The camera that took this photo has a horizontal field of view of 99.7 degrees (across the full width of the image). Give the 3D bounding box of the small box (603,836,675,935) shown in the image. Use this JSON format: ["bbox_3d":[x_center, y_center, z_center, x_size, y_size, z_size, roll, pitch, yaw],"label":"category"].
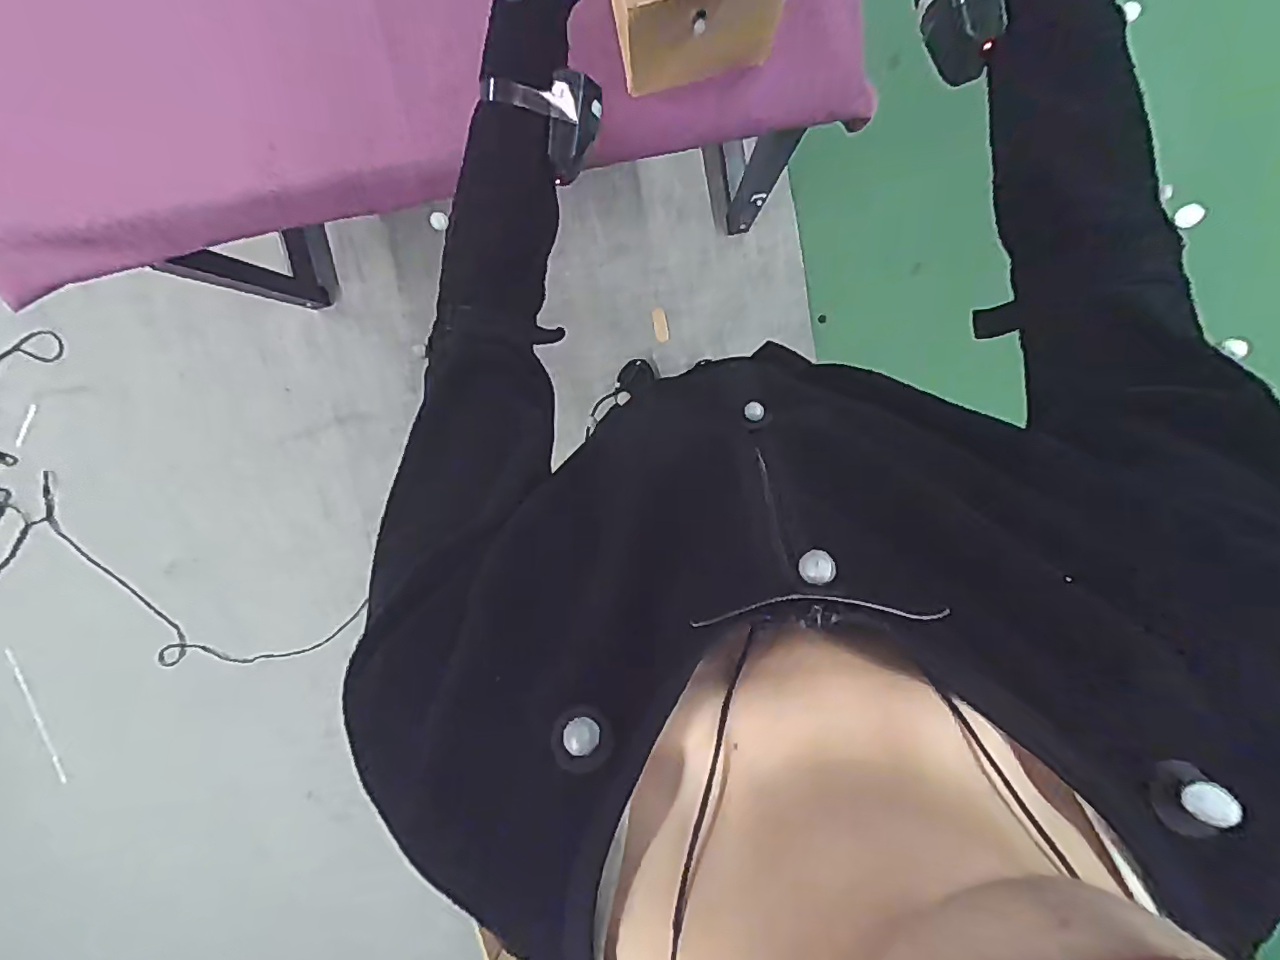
[{"bbox_3d":[-0.003,1.176,1.570,0.179,0.176,0.168,-16,96,7],"label":"small box"}]

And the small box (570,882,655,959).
[{"bbox_3d":[-0.065,1.193,1.412,0.168,0.176,0.179,-17,96,8],"label":"small box"}]

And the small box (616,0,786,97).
[{"bbox_3d":[0.058,-0.577,0.609,0.179,0.176,0.168,-11,99,6],"label":"small box"}]
